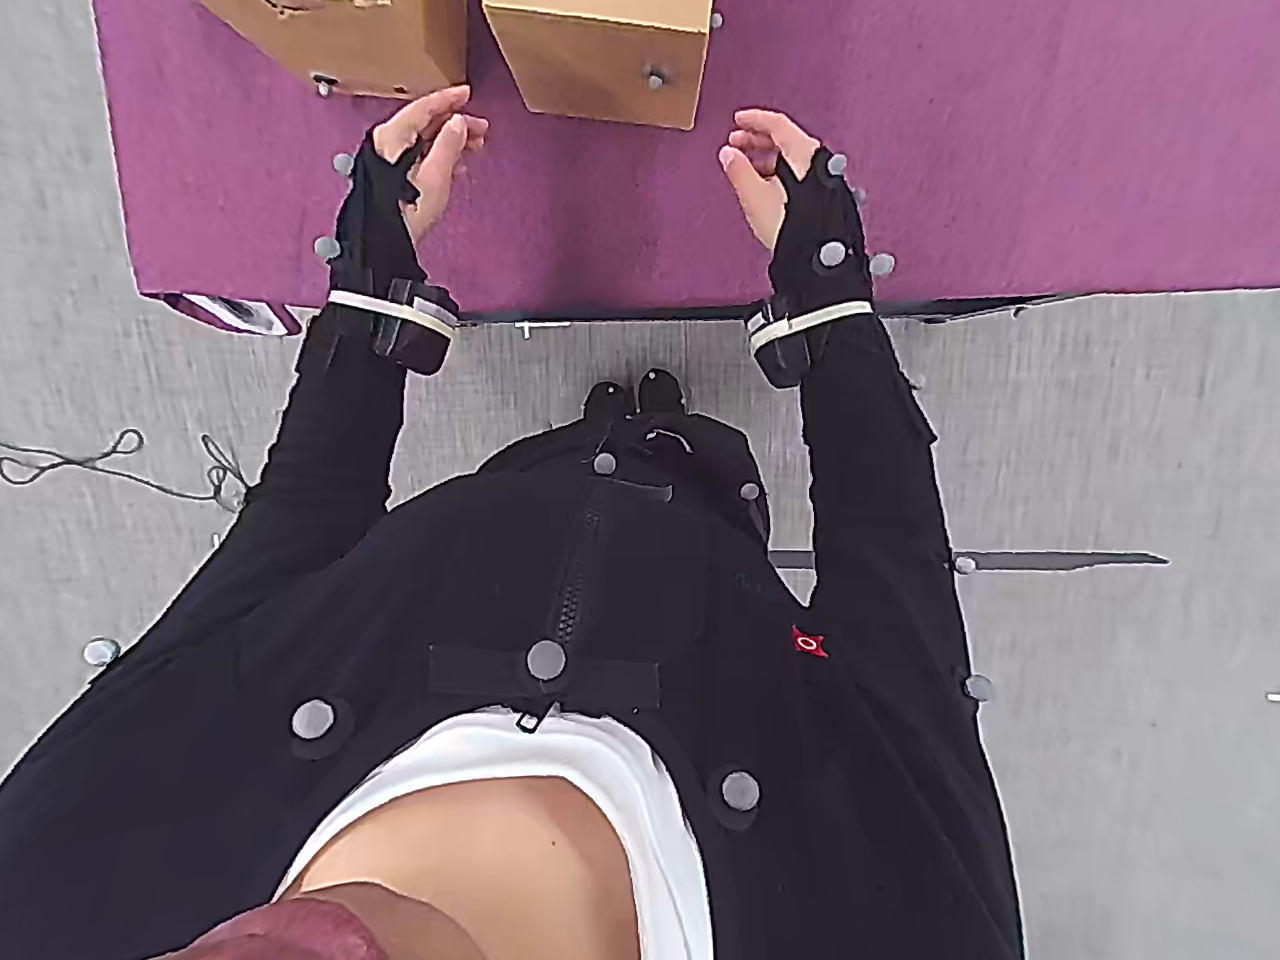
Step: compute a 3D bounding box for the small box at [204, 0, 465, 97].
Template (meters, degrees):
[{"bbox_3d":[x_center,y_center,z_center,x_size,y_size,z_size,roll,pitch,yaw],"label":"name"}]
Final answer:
[{"bbox_3d":[-0.259,-0.472,0.473,0.168,0.176,0.179,5,101,0],"label":"small box"}]
